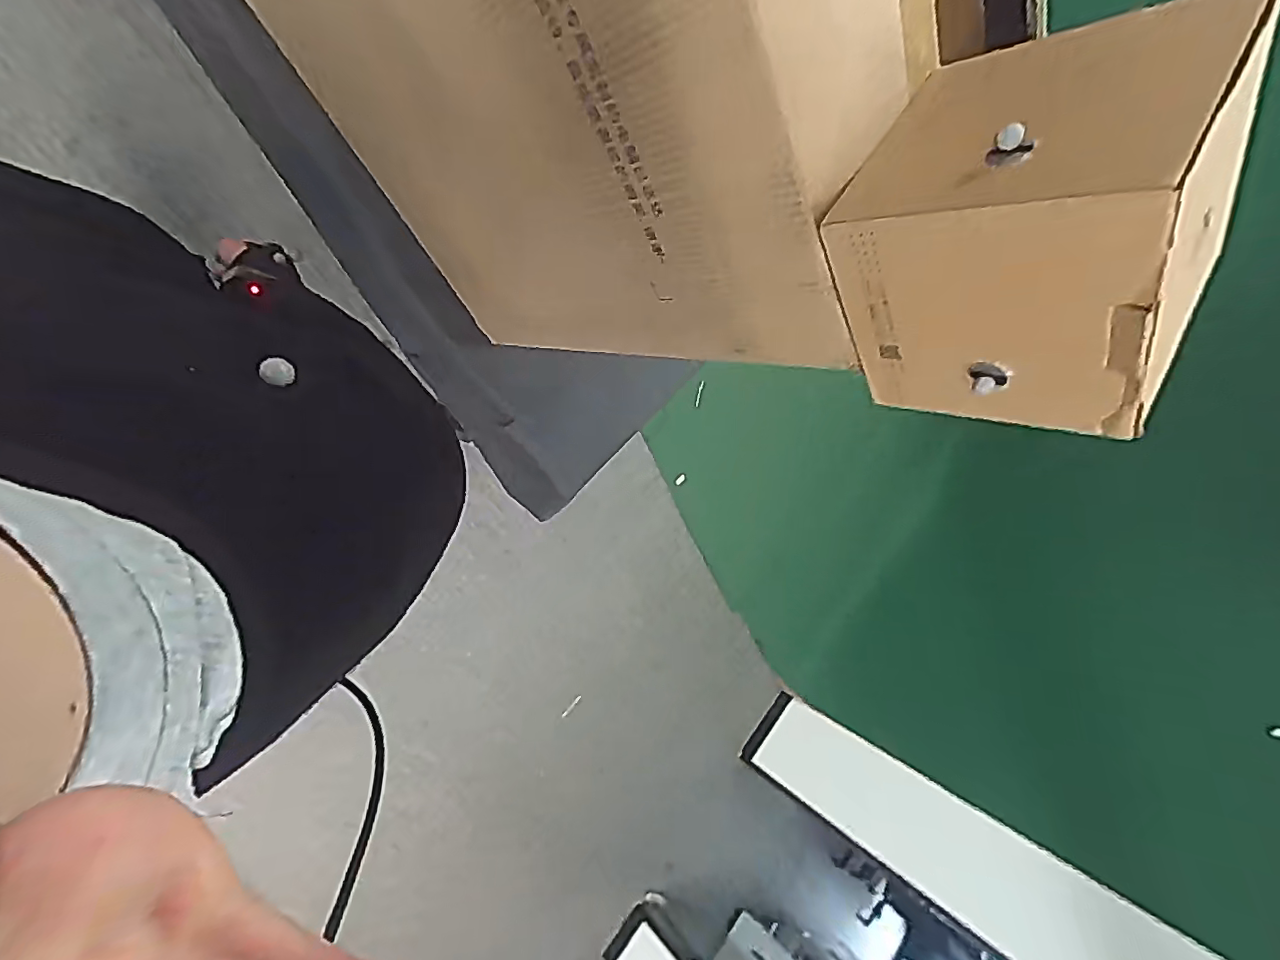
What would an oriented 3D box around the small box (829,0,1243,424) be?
[{"bbox_3d":[0.246,-0.164,0.363,0.179,0.176,0.168,-55,134,-16],"label":"small box"}]
